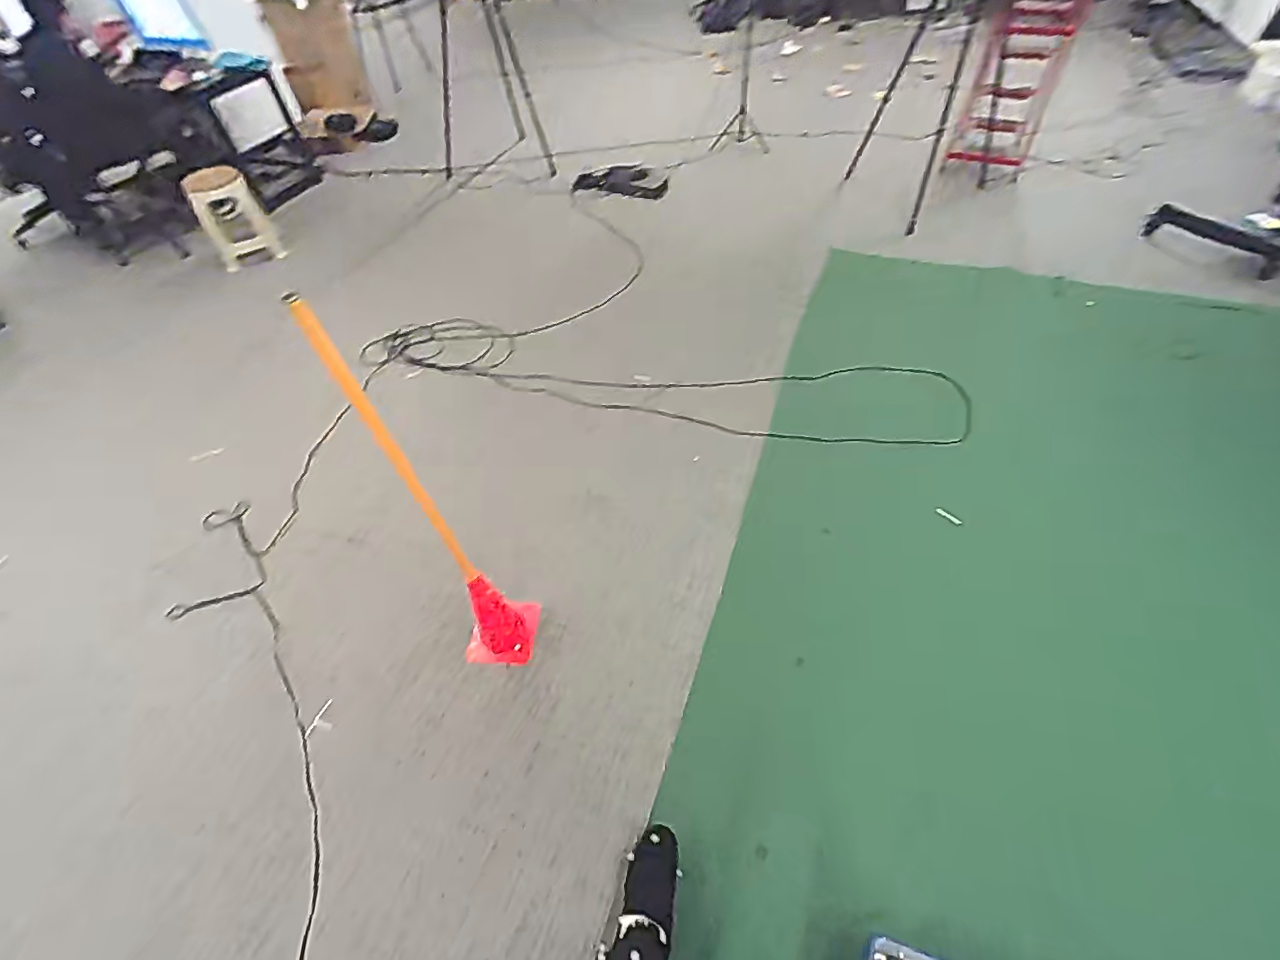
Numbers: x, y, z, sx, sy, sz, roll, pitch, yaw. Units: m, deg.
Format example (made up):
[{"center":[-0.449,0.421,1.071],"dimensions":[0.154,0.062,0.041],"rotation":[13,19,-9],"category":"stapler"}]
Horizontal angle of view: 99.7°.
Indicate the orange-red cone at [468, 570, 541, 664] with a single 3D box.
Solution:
[{"center":[-0.432,0.365,1.571],"dimensions":[0.198,0.360,0.199],"rotation":[3,50,6],"category":"orange-red cone"}]
